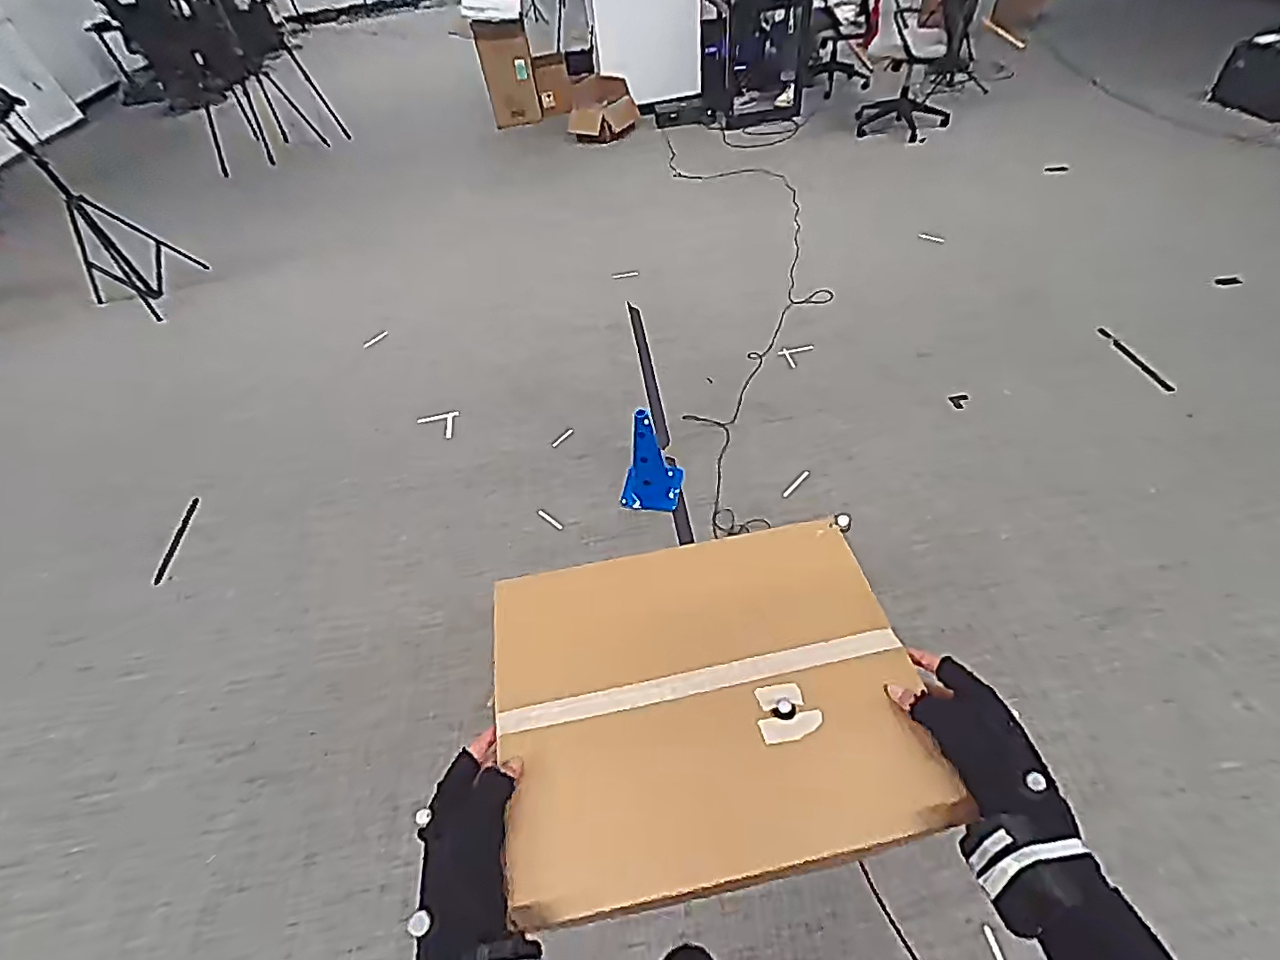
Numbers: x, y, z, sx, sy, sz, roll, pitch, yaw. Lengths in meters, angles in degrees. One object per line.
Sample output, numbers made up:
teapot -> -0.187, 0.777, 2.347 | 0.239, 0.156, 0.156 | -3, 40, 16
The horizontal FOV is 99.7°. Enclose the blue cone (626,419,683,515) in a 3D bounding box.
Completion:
blue cone -> 0.033, -0.064, 1.805 | 0.193, 0.380, 0.192 | 5, 51, 14

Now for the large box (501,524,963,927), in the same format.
large box -> 0.069, 0.300, 0.660 | 0.408, 0.320, 0.320 | -10, 51, -5
